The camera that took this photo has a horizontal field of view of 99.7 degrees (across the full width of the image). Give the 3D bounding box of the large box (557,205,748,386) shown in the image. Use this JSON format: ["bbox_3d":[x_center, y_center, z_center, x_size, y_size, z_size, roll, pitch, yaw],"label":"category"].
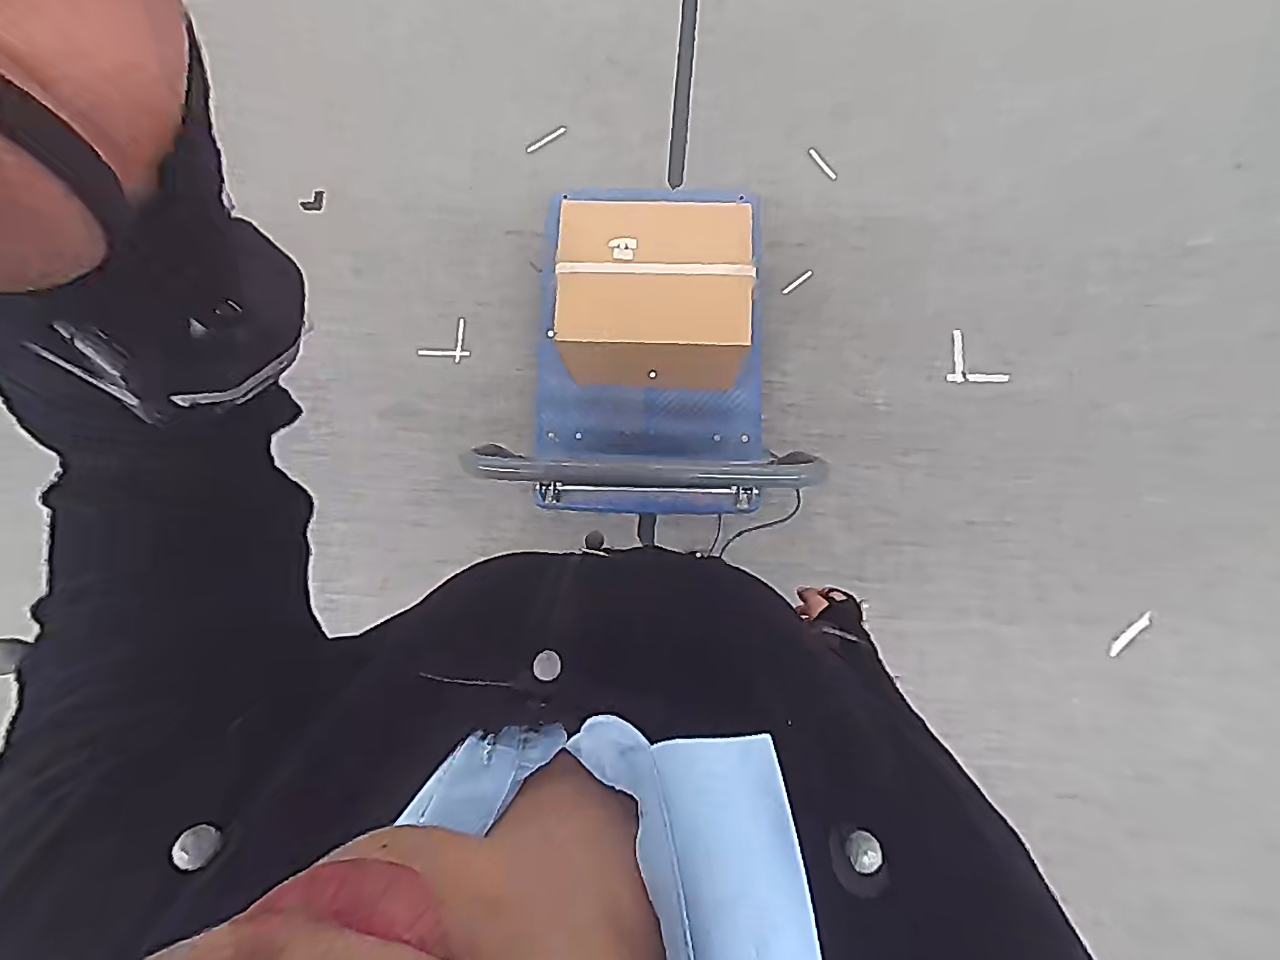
[{"bbox_3d":[0.035,-0.415,1.285,0.408,0.320,0.320,1,81,3],"label":"large box"}]
